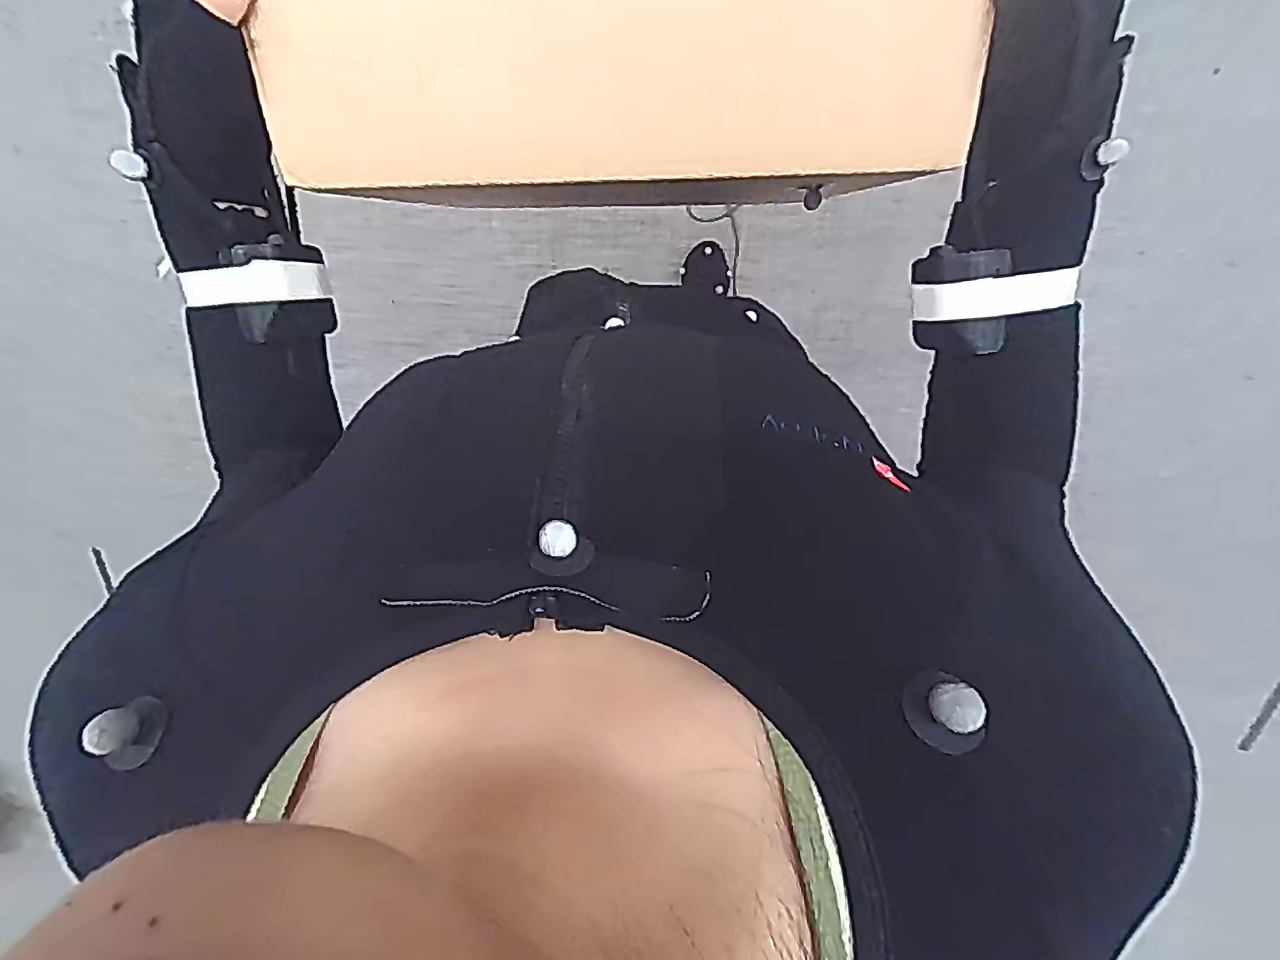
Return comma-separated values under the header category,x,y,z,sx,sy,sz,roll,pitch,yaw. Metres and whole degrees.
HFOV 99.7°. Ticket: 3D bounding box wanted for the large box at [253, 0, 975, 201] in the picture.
category,x,y,z,sx,sy,sz,roll,pitch,yaw
large box,-0.013,-0.389,0.402,0.408,0.320,0.320,0,114,2
